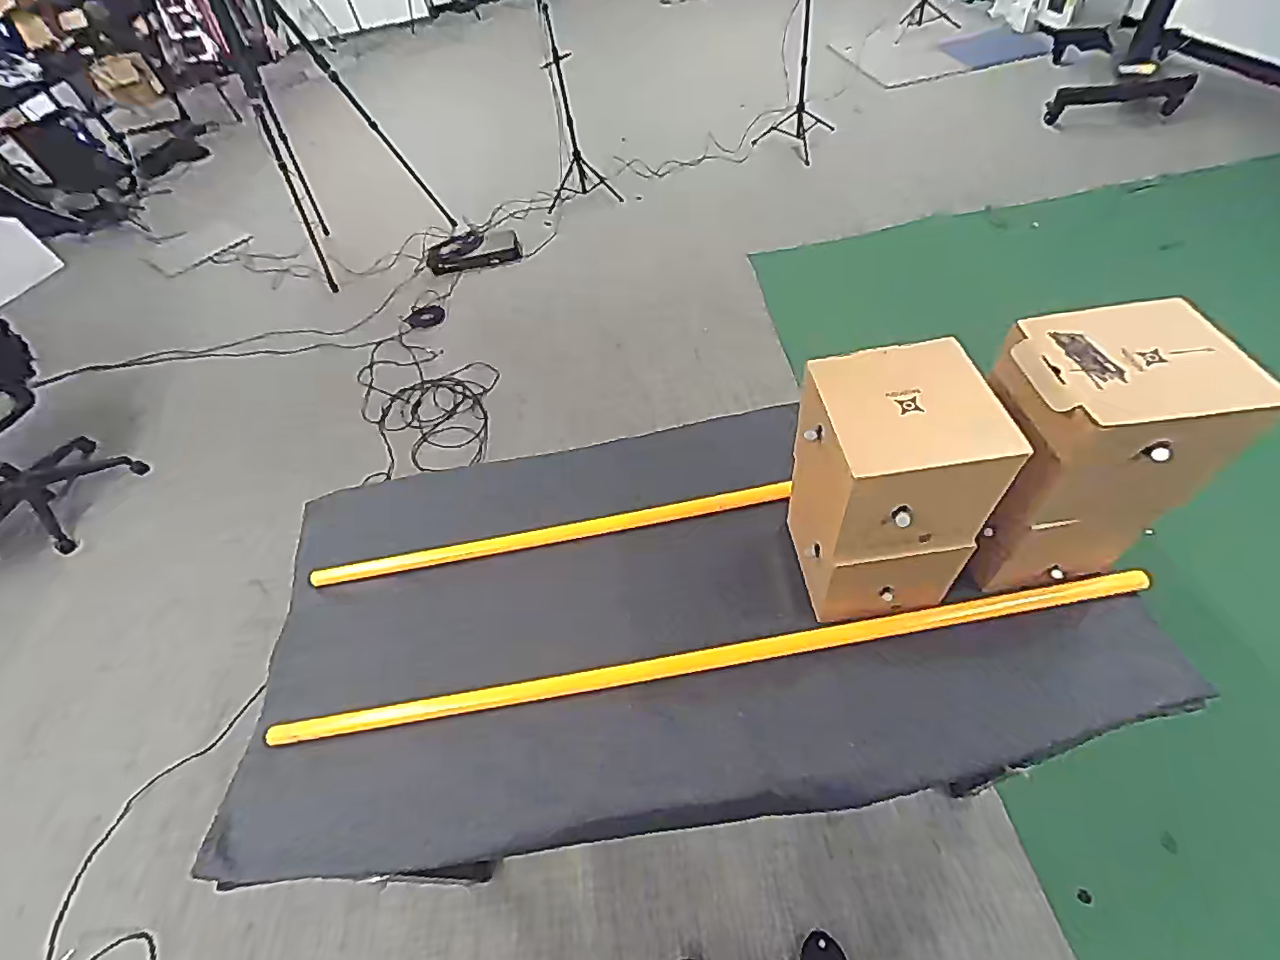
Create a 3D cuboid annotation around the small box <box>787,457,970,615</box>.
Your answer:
[{"bbox_3d":[0.306,0.072,0.738,0.168,0.176,0.179,-9,51,3],"label":"small box"}]

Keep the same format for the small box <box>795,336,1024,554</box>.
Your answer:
[{"bbox_3d":[0.281,-0.030,0.613,0.168,0.176,0.179,-9,51,4],"label":"small box"}]

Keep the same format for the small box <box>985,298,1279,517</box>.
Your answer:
[{"bbox_3d":[0.506,-0.072,0.601,0.179,0.176,0.168,-7,52,4],"label":"small box"}]
